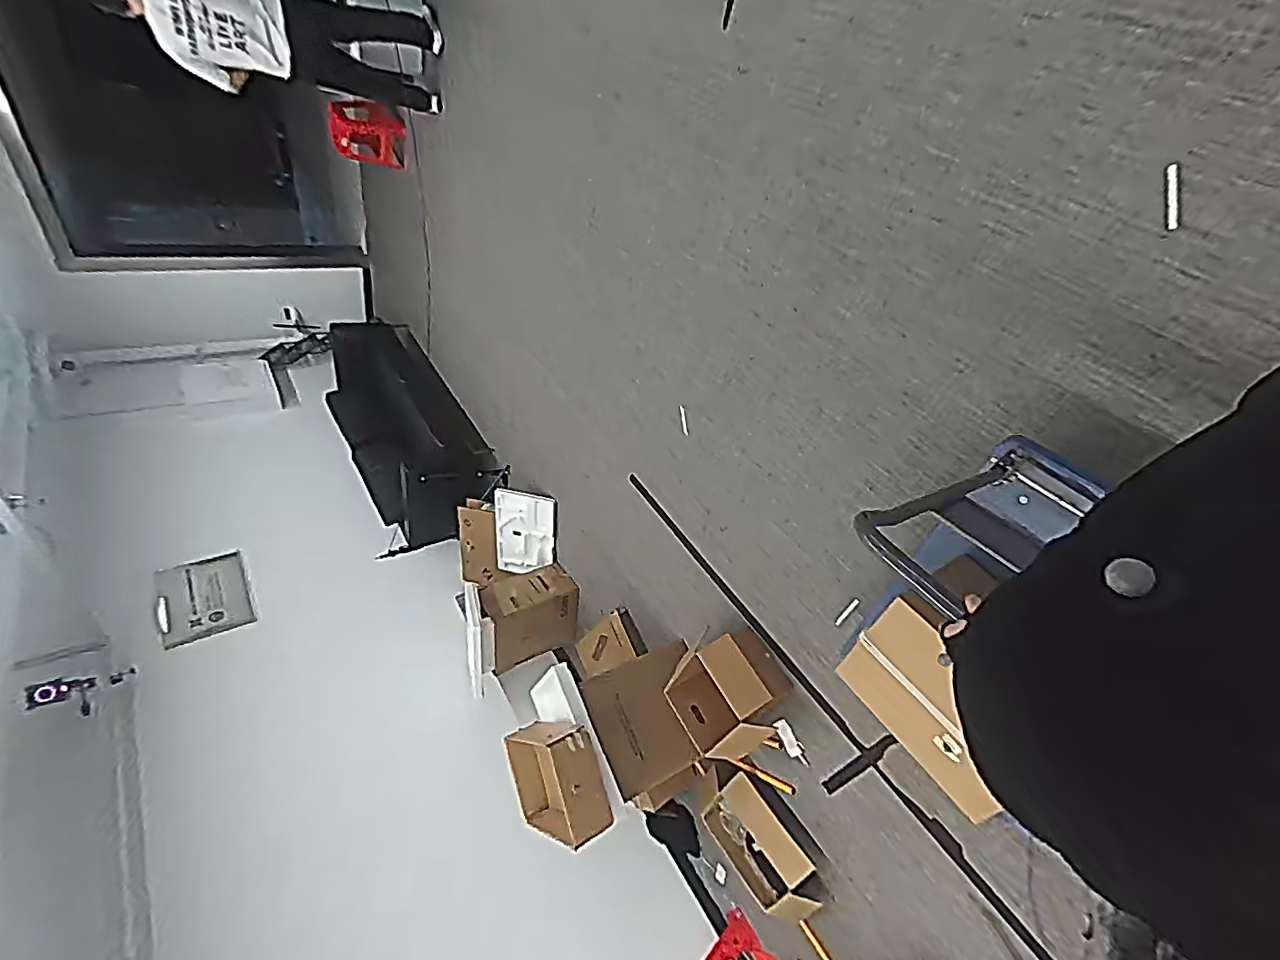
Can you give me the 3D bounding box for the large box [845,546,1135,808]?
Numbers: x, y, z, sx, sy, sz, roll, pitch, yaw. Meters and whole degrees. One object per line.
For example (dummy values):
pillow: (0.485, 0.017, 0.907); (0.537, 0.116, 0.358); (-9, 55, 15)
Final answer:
large box: (0.772, 0.424, 1.237); (0.408, 0.320, 0.320); (47, 138, 32)
